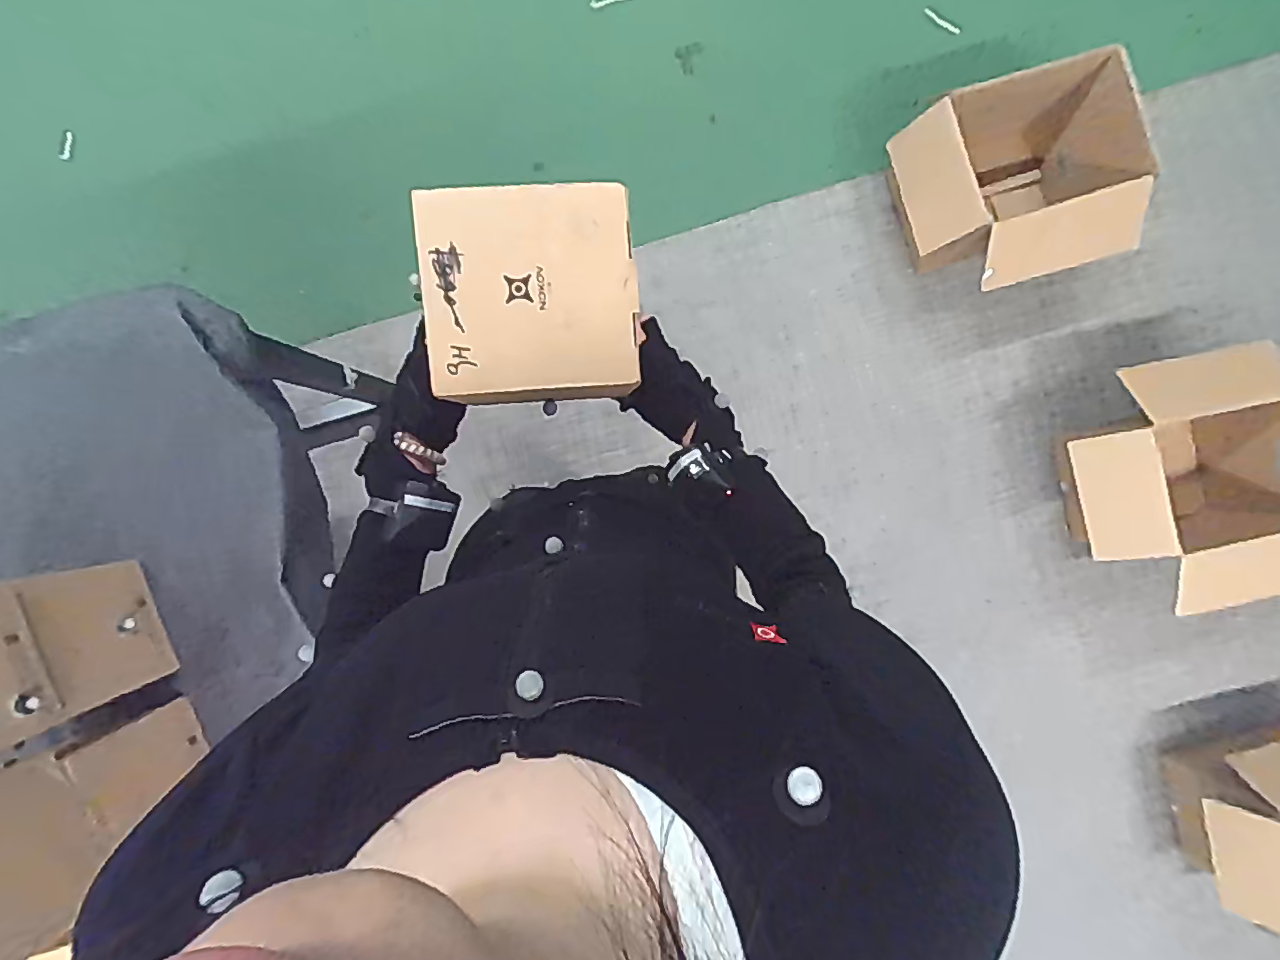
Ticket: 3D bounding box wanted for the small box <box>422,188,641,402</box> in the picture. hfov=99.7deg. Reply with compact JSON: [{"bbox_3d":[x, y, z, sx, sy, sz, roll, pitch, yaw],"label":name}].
[{"bbox_3d":[-0.098,-0.166,0.533,0.179,0.176,0.168,-3,95,-6],"label":"small box"}]
